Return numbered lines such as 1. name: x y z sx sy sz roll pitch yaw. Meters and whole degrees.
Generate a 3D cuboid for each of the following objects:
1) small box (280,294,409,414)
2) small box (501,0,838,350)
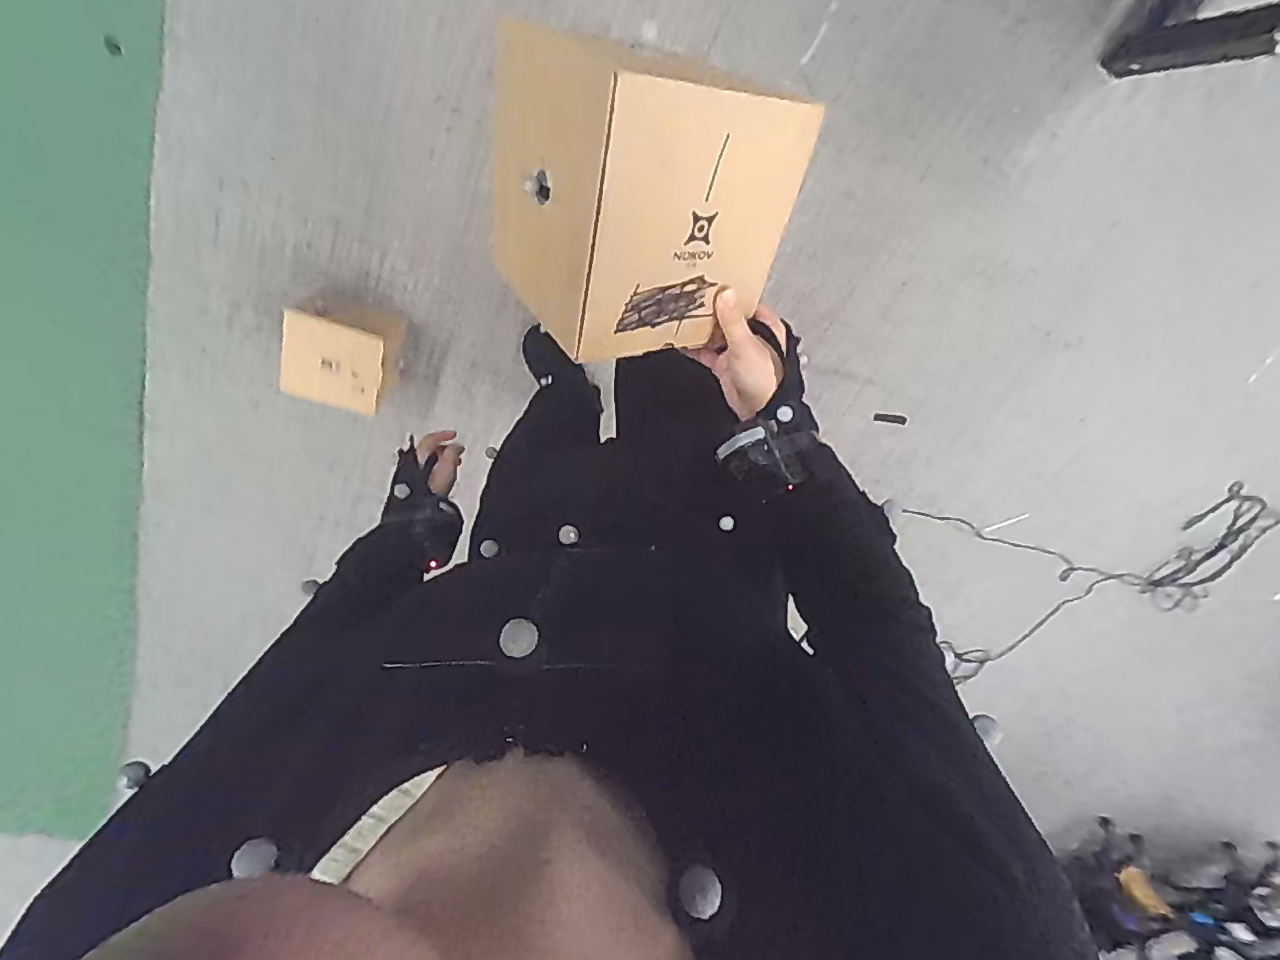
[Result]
1. small box: -0.590 -0.260 1.092 0.179 0.176 0.168 15 118 -15
2. small box: 0.003 -0.223 0.411 0.168 0.176 0.179 -15 139 -31
